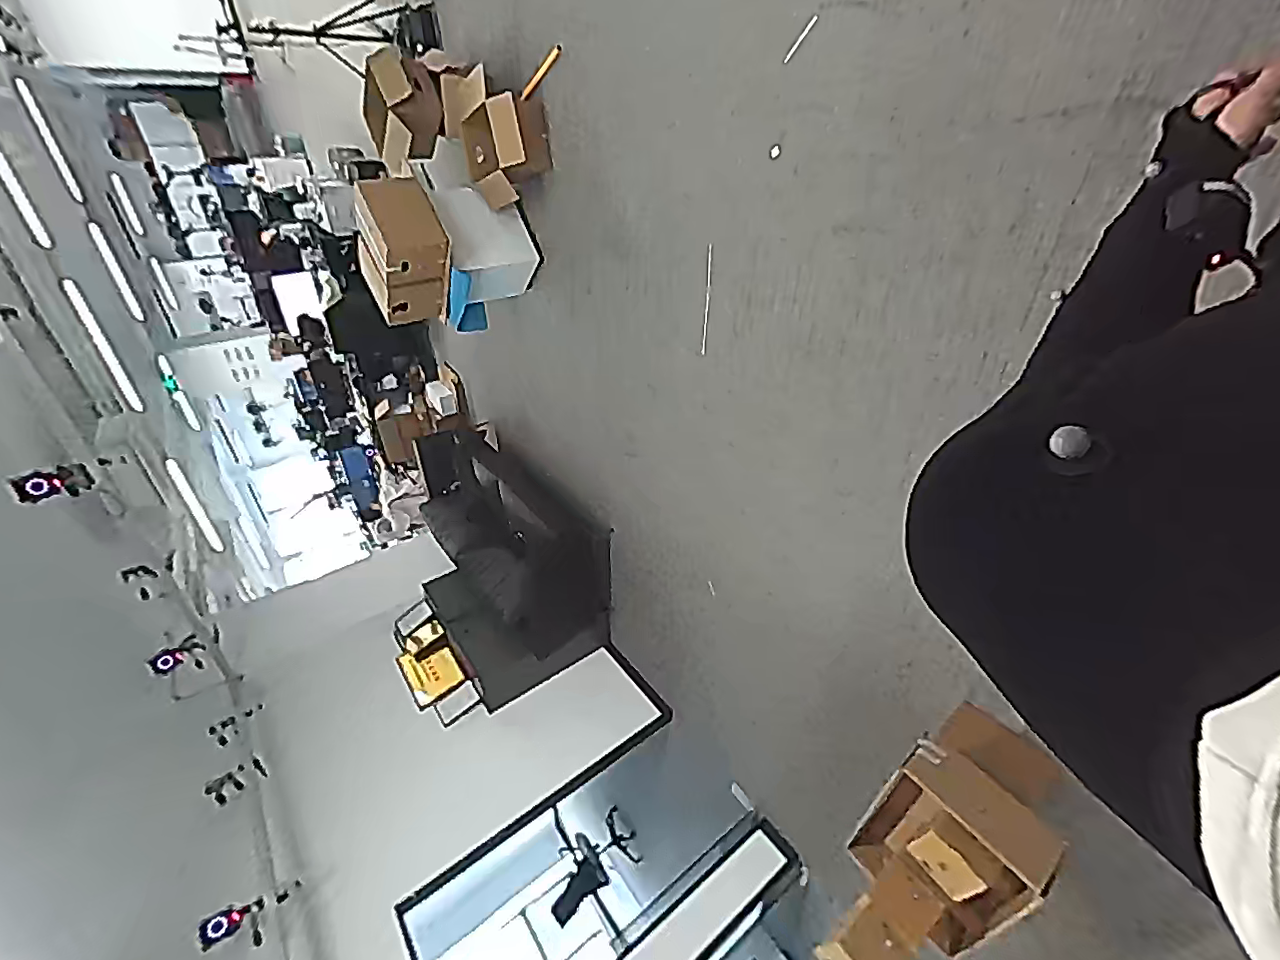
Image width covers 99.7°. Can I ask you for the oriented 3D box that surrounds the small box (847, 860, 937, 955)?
[{"bbox_3d":[0.746,1.289,1.607,0.168,0.176,0.179,39,137,40],"label":"small box"}]

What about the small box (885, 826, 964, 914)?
[{"bbox_3d":[0.875,1.241,1.693,0.168,0.176,0.179,38,137,39],"label":"small box"}]

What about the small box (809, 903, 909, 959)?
[{"bbox_3d":[0.618,1.345,1.521,0.168,0.176,0.179,46,141,32],"label":"small box"}]
